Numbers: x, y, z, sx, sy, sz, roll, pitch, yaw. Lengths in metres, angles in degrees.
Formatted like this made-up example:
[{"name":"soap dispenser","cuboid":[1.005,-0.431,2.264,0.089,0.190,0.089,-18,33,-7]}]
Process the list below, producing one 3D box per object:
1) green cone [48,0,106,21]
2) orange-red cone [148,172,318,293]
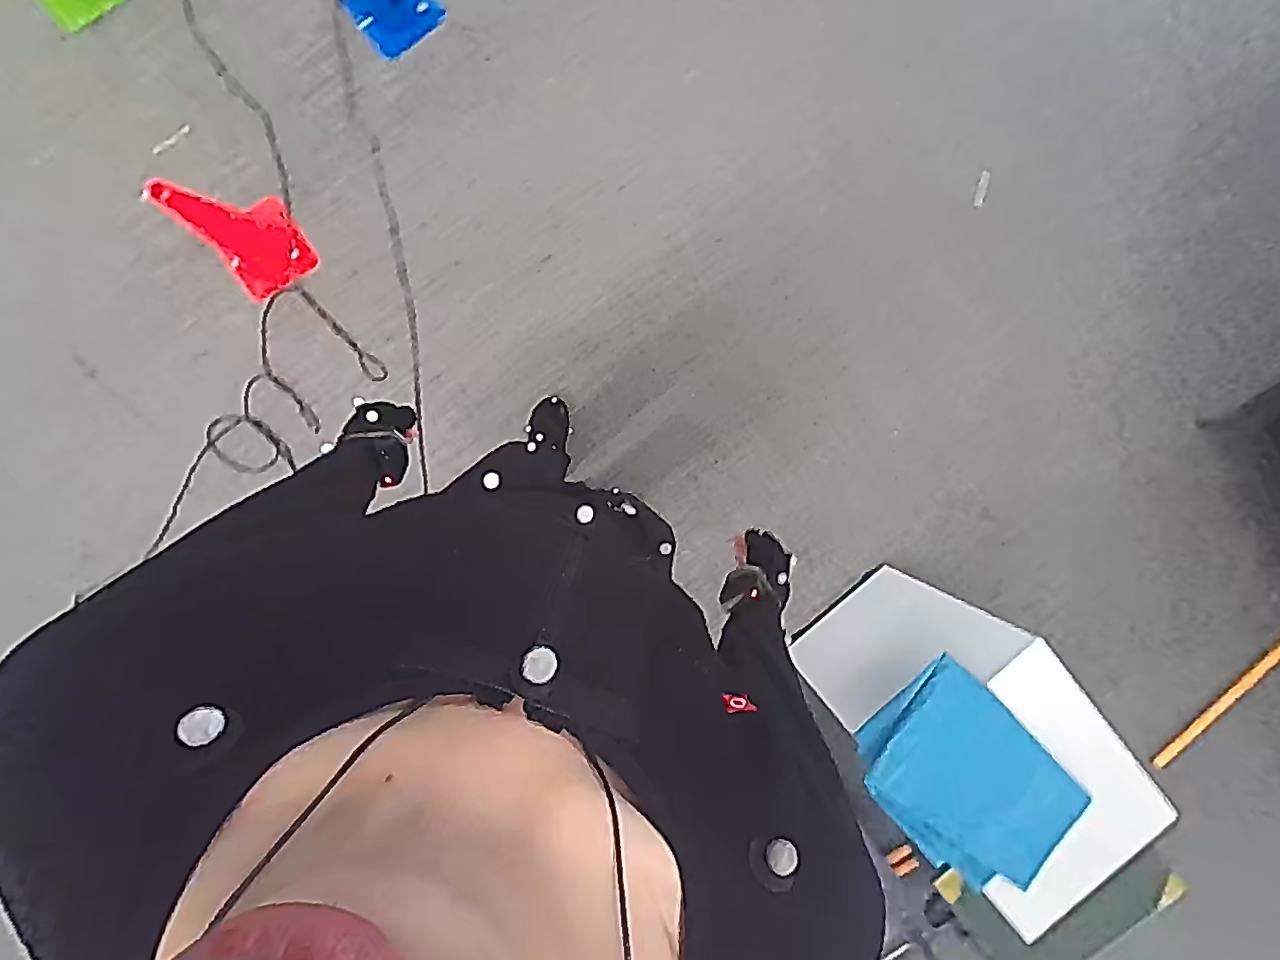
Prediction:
[{"name":"green cone","cuboid":[-1.323,-1.199,1.103,0.200,0.368,0.202,-33,99,0]},{"name":"orange-red cone","cuboid":[-0.936,-0.586,1.205,0.198,0.360,0.199,-31,96,-2]}]
